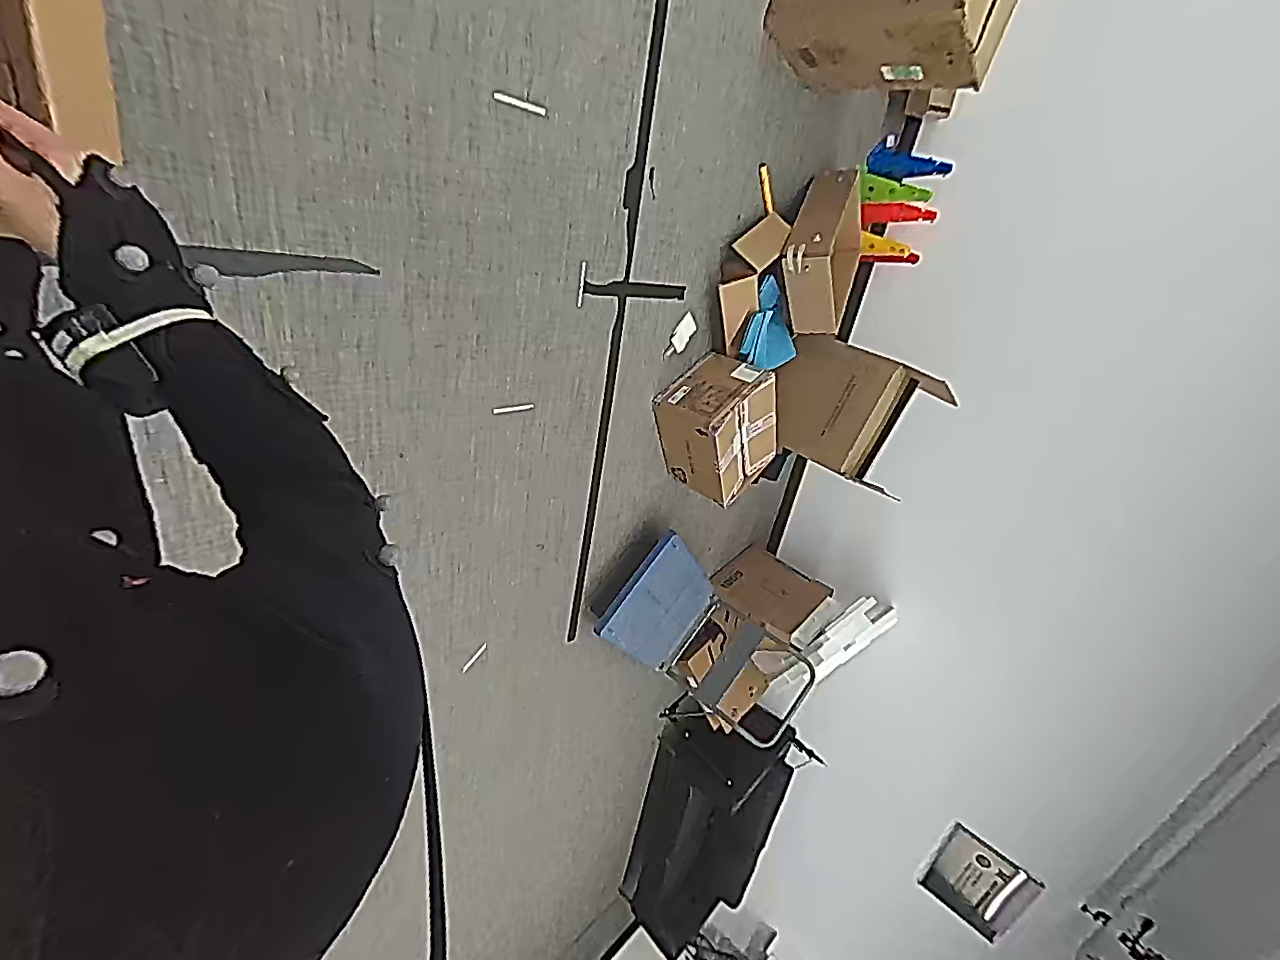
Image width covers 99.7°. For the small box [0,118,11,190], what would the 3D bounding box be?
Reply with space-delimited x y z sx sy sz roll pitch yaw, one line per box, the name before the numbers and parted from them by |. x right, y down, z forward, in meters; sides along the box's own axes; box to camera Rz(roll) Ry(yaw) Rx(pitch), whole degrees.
small box | -0.520 -0.272 0.306 0.179 0.176 0.168 -23 119 -43
